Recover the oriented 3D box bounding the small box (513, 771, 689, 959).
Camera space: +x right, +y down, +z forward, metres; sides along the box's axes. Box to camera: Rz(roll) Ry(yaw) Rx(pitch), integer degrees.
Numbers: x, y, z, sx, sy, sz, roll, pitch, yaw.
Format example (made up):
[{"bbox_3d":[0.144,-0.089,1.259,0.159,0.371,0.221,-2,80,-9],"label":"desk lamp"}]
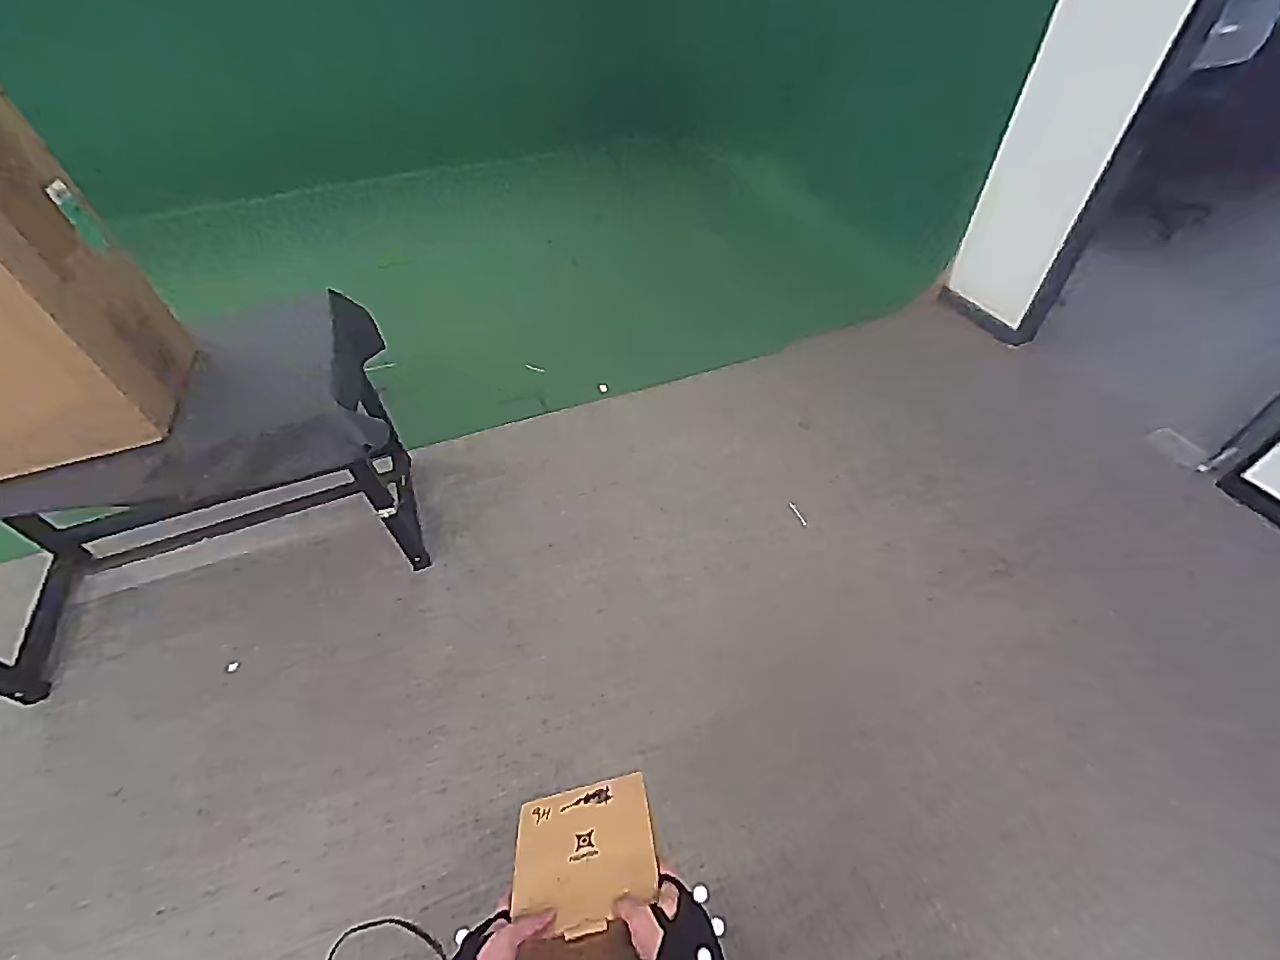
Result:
[{"bbox_3d":[-0.043,0.504,0.654,0.168,0.176,0.179,-14,18,-3],"label":"small box"}]
